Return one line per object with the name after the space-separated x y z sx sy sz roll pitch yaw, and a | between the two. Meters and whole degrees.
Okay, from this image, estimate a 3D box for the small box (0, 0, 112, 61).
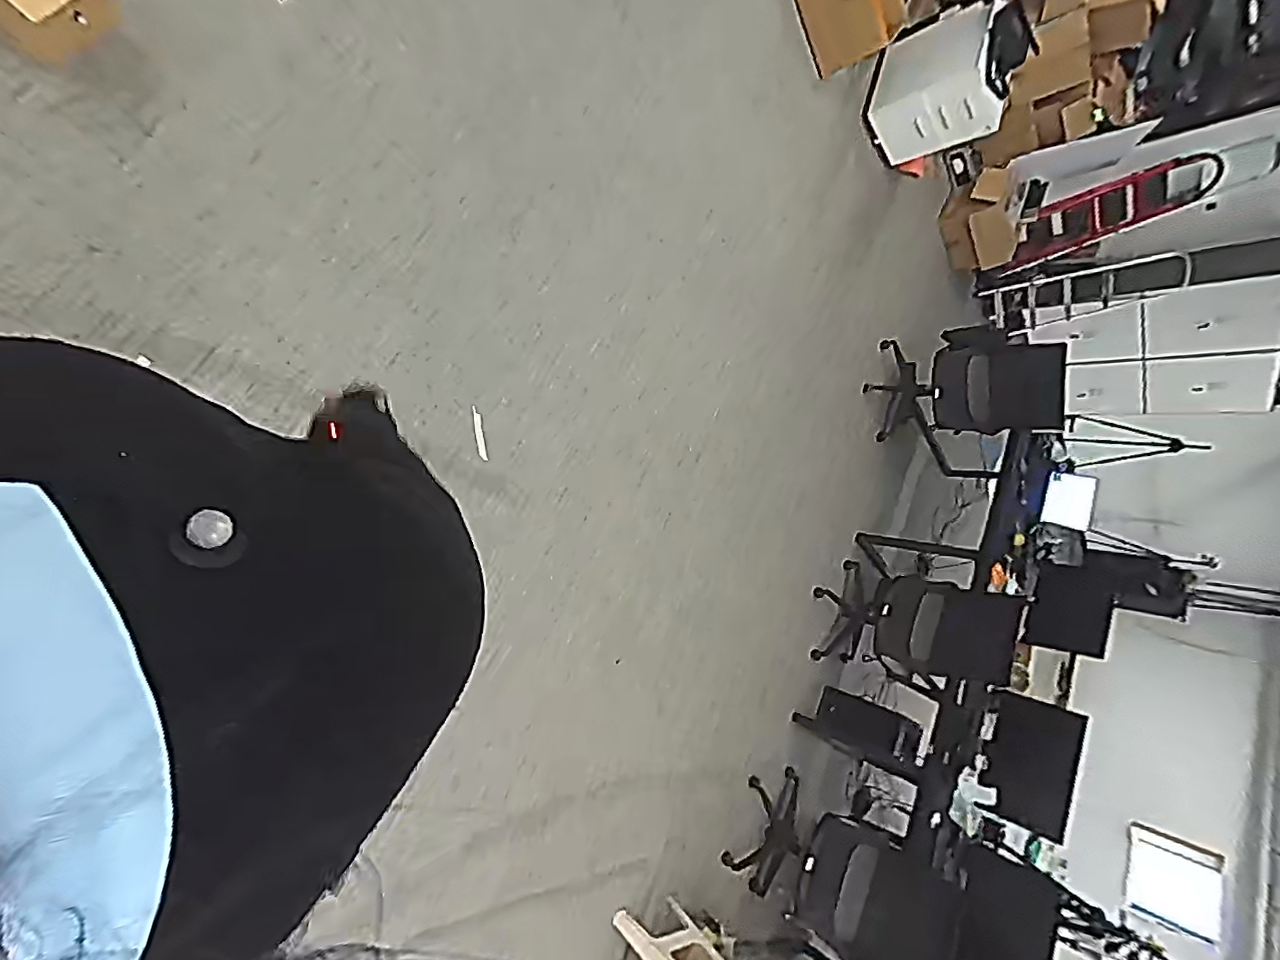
-1.045 -0.866 0.914 0.168 0.176 0.179 47 63 -37 | small box
